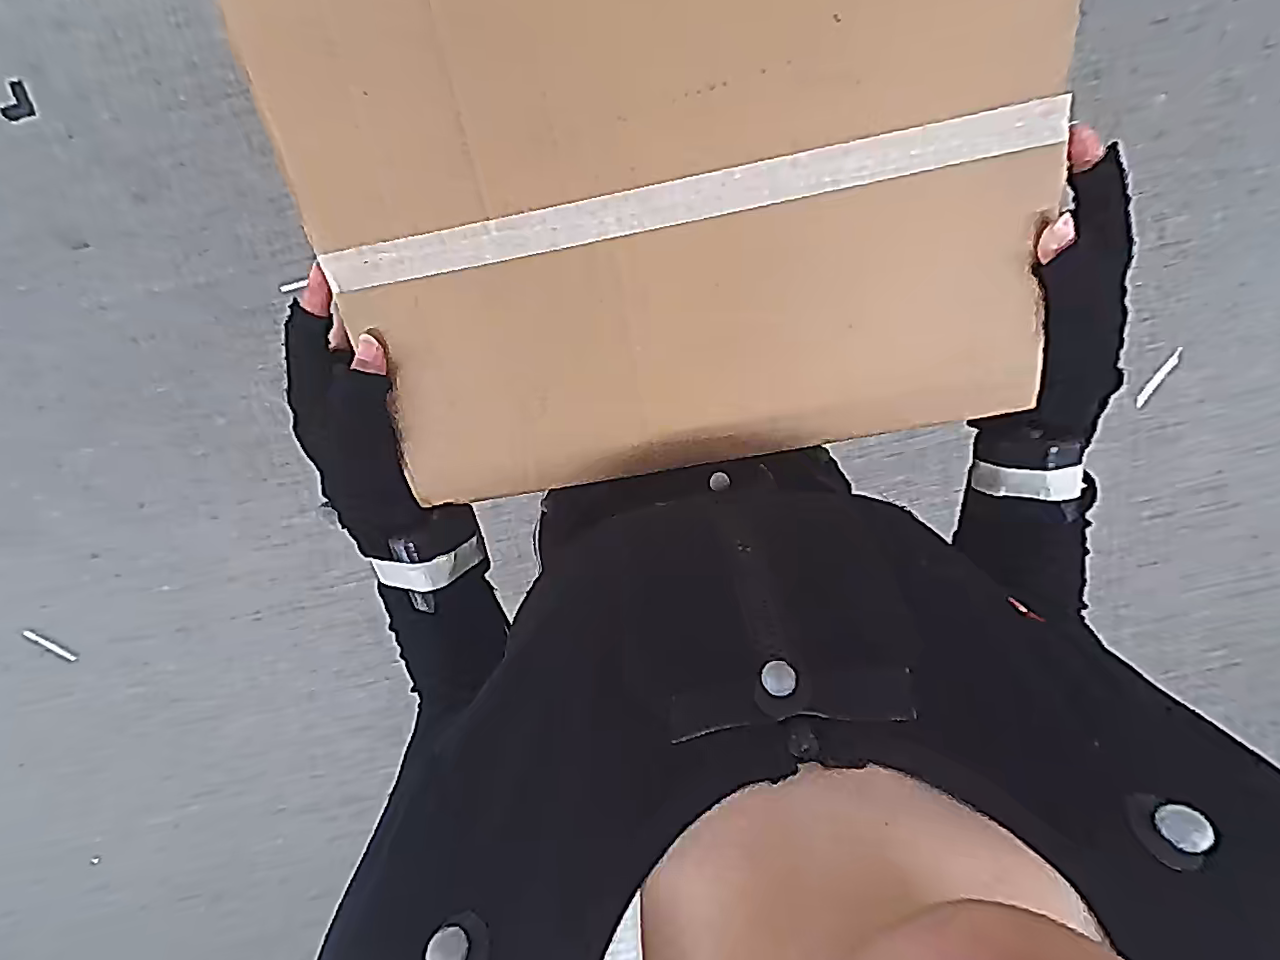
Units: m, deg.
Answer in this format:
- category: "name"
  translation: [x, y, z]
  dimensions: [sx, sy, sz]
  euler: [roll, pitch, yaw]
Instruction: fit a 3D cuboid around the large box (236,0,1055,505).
- category: "large box"
  translation: [0.021, -0.213, 0.441]
  dimensions: [0.408, 0.320, 0.320]
  euler: [-9, 113, 4]
